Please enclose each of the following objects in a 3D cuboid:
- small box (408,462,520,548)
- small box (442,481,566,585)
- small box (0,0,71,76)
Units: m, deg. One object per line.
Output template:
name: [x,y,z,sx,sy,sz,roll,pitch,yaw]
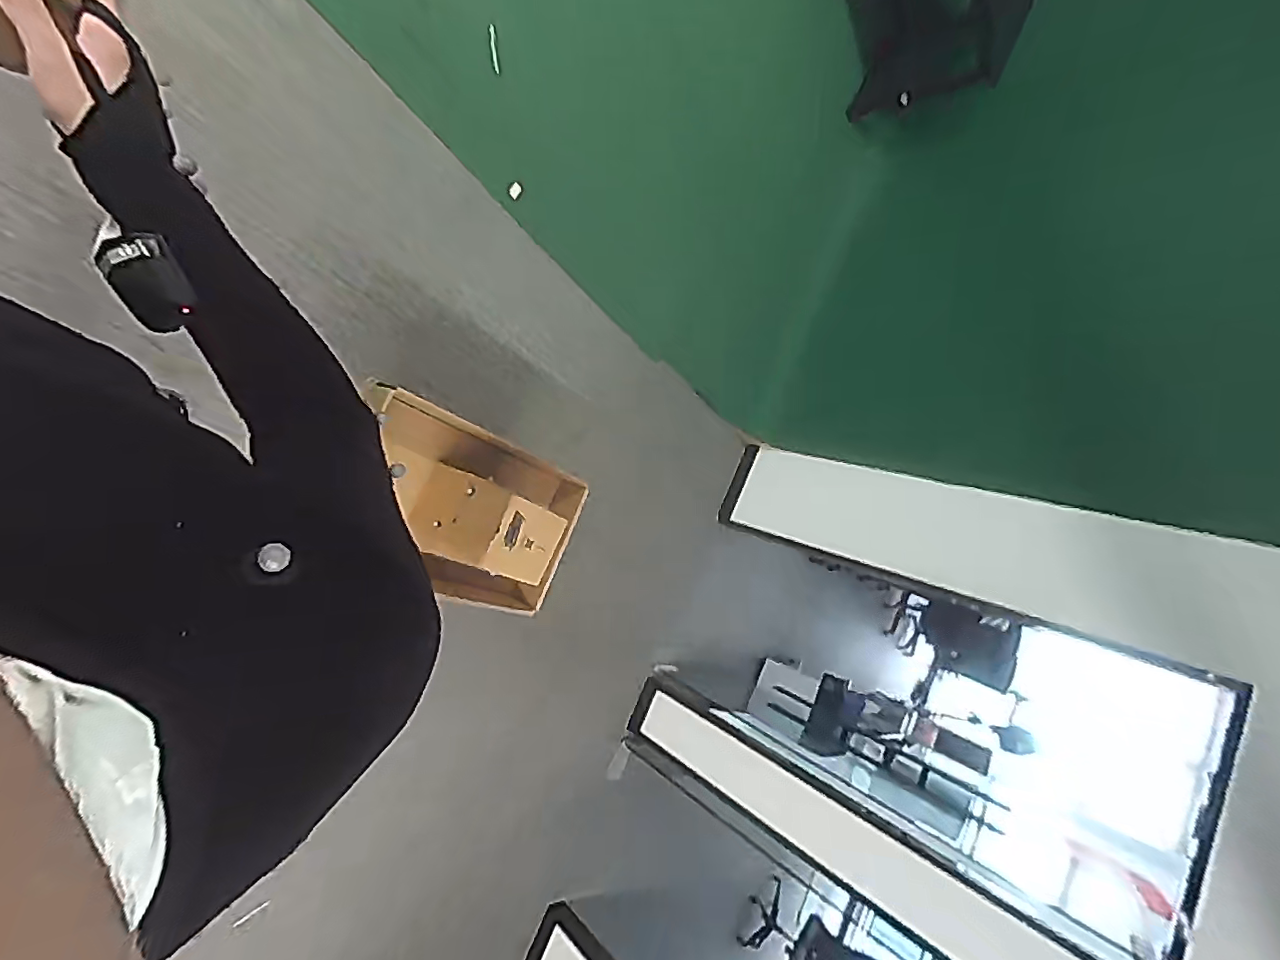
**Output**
small box: [-0.429,0.073,1.313,0.168,0.176,0.179,31,80,-49]
small box: [-0.307,0.114,1.211,0.179,0.176,0.168,35,77,-49]
small box: [-0.511,-0.434,0.367,0.168,0.176,0.179,-3,97,-46]
